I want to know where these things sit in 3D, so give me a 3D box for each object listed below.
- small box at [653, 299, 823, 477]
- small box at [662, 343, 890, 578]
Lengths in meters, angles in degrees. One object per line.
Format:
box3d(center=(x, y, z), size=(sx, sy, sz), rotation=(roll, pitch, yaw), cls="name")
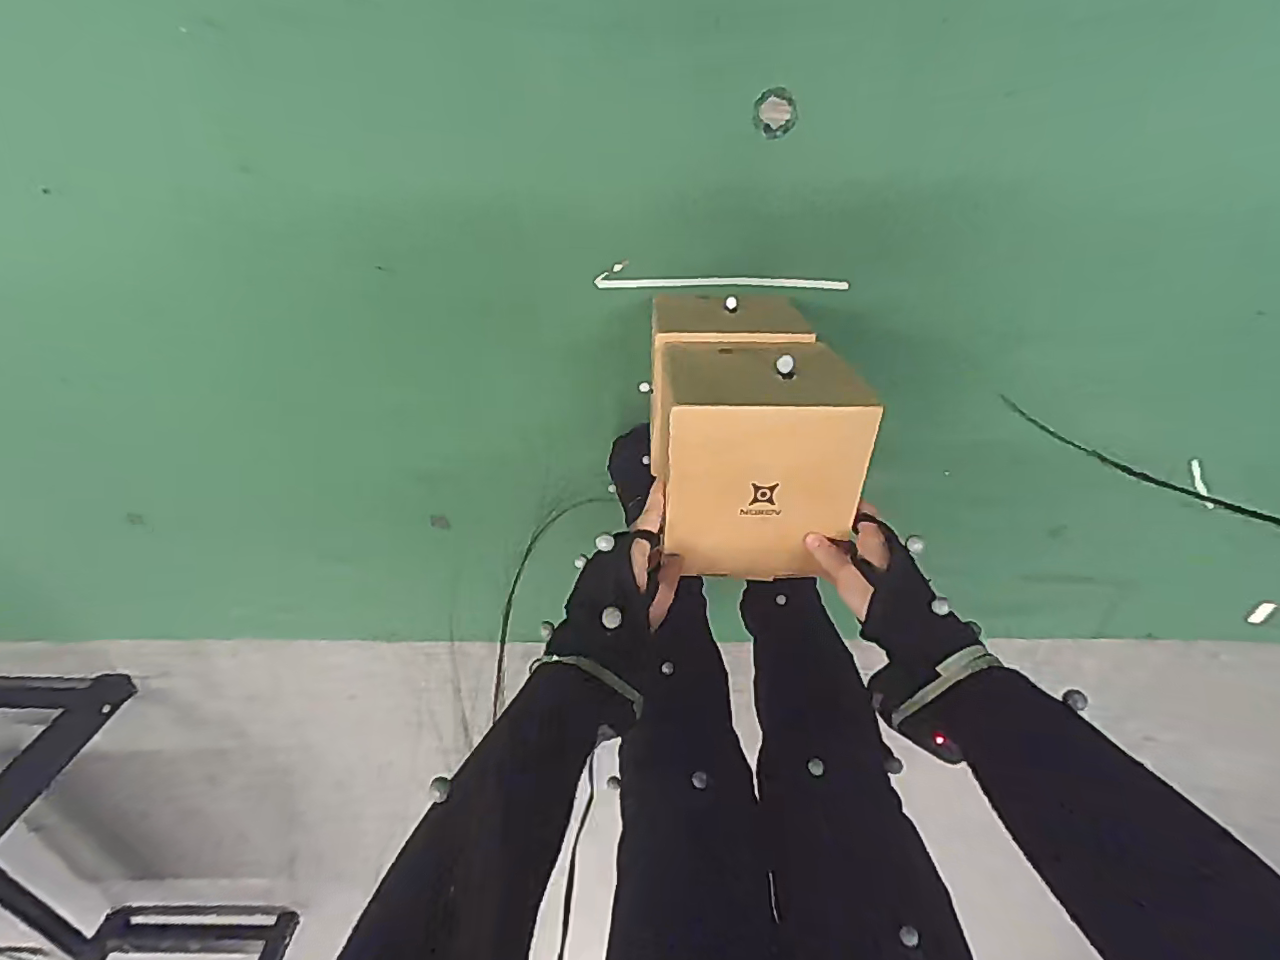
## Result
box3d(center=(0.103, -0.116, 0.658), size=(0.168, 0.176, 0.179), rotation=(2, 121, 0), cls="small box")
box3d(center=(0.109, -0.027, 0.522), size=(0.168, 0.176, 0.179), rotation=(1, 121, 0), cls="small box")
